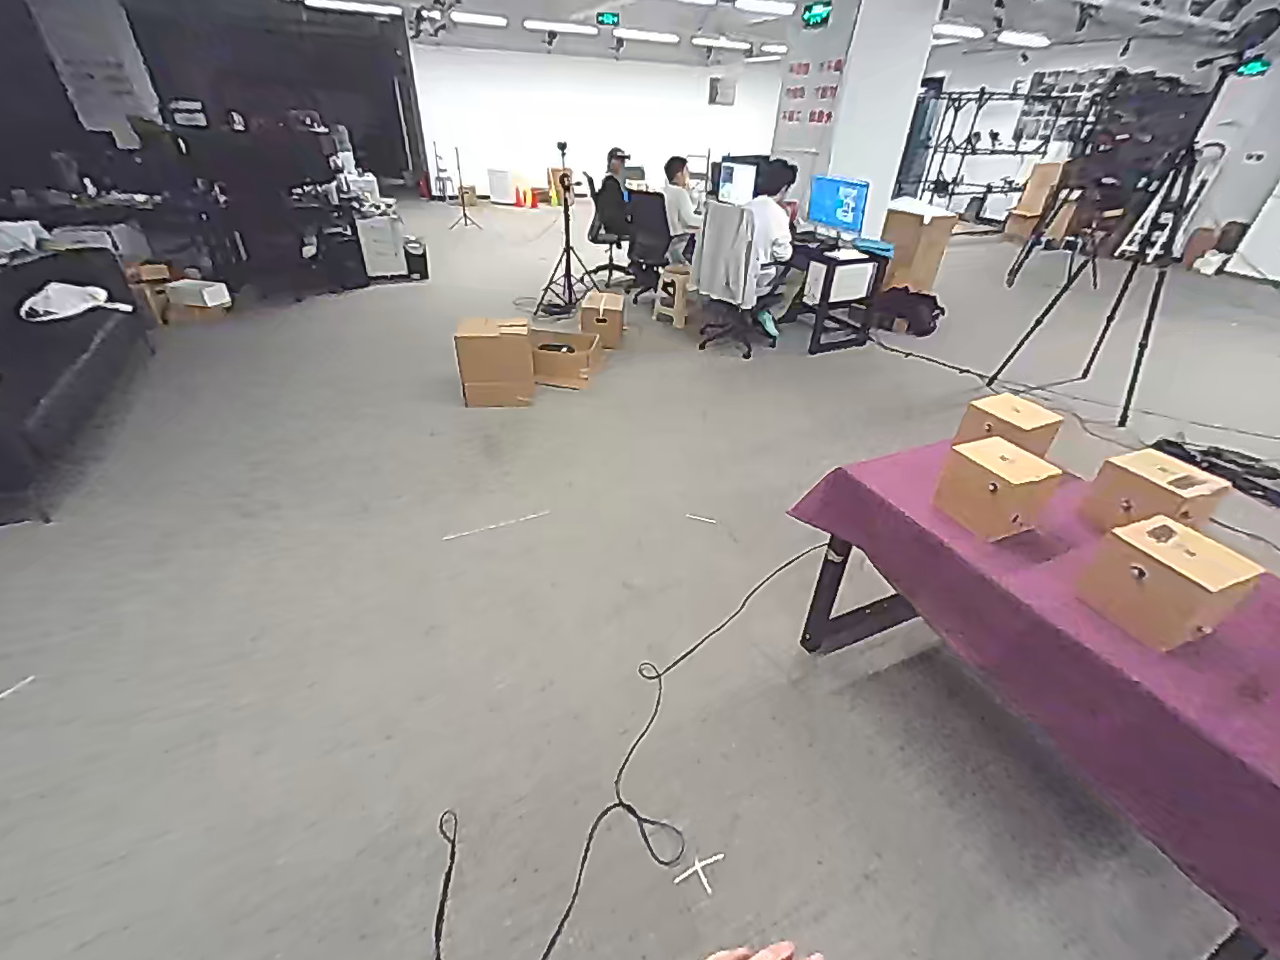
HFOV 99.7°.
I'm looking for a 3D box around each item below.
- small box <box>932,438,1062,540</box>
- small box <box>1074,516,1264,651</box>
[{"bbox_3d":[0.854,0.020,1.314,0.168,0.176,0.179,-12,37,-20],"label":"small box"},{"bbox_3d":[1.012,0.198,1.054,0.168,0.176,0.179,-11,37,-18],"label":"small box"}]
